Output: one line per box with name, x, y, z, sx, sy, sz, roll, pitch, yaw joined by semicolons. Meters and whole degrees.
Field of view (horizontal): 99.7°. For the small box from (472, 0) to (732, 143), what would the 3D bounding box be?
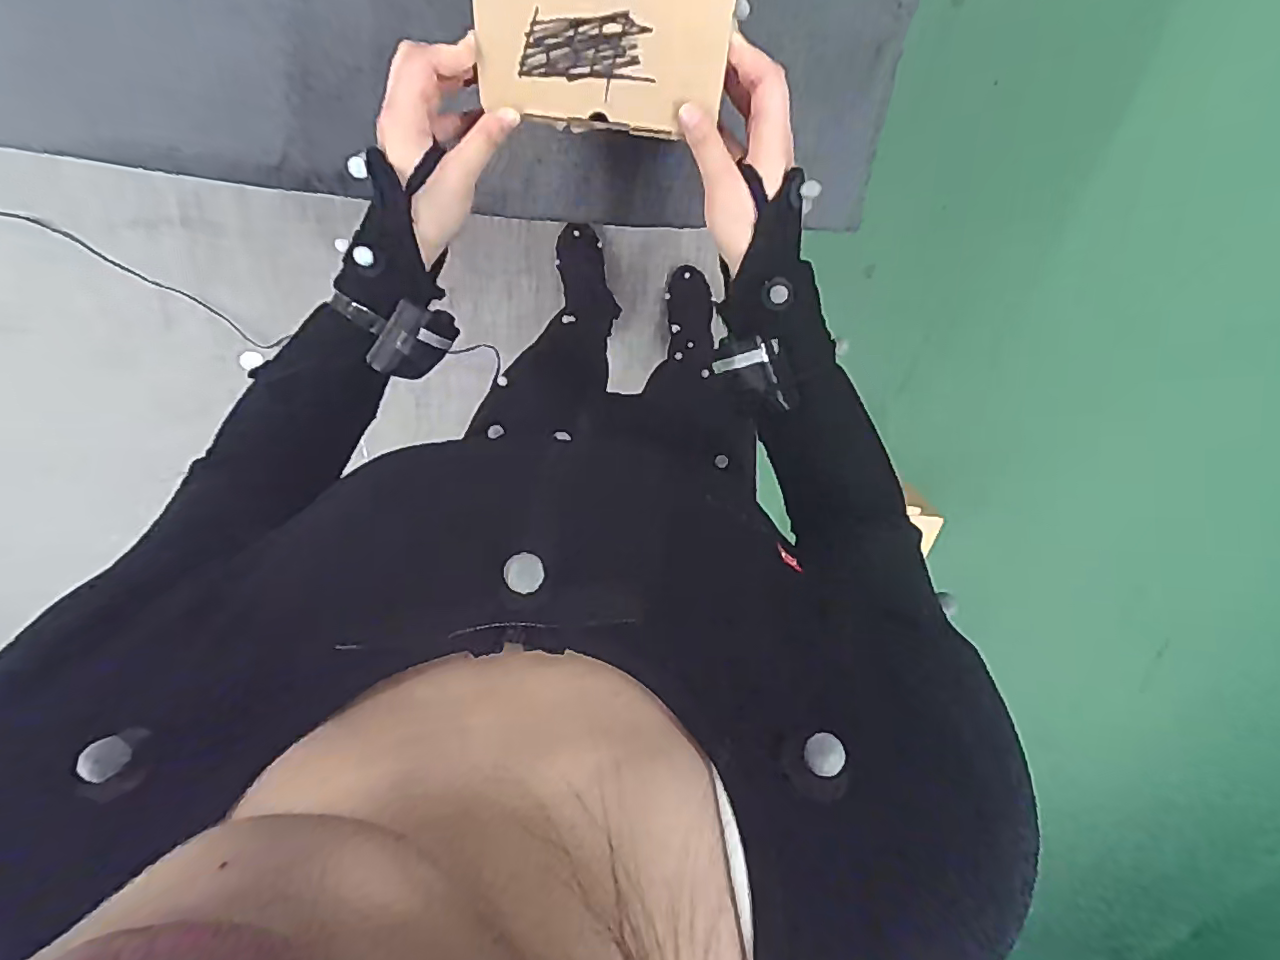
small box;-0.017;-0.361;0.388;0.168;0.176;0.179;6;126;-2
